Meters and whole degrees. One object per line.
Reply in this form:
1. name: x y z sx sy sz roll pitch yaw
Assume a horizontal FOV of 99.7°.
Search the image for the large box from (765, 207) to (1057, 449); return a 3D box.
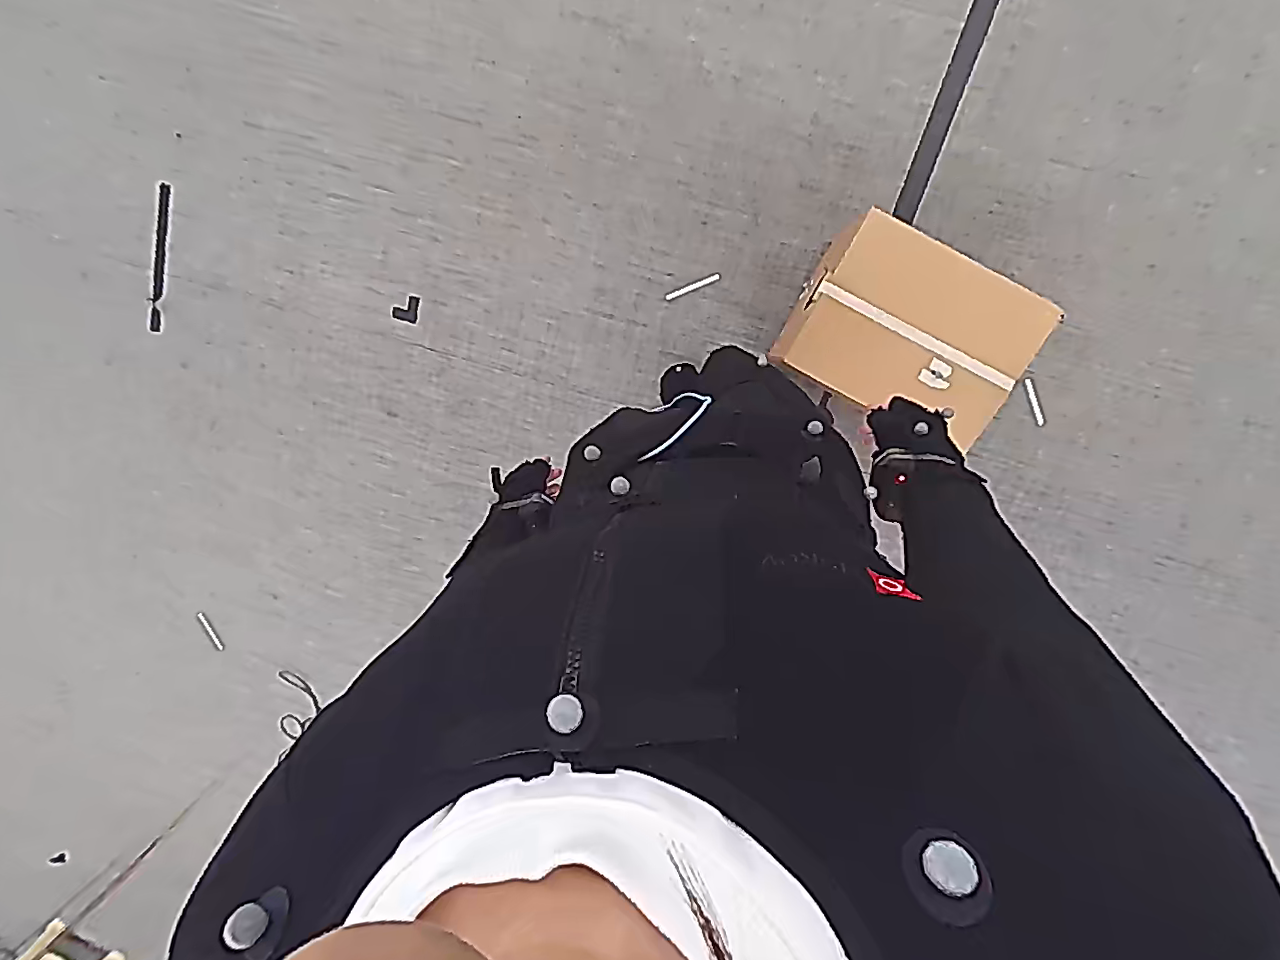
1. large box: 0.531 -0.312 1.159 0.408 0.320 0.320 28 106 -1
